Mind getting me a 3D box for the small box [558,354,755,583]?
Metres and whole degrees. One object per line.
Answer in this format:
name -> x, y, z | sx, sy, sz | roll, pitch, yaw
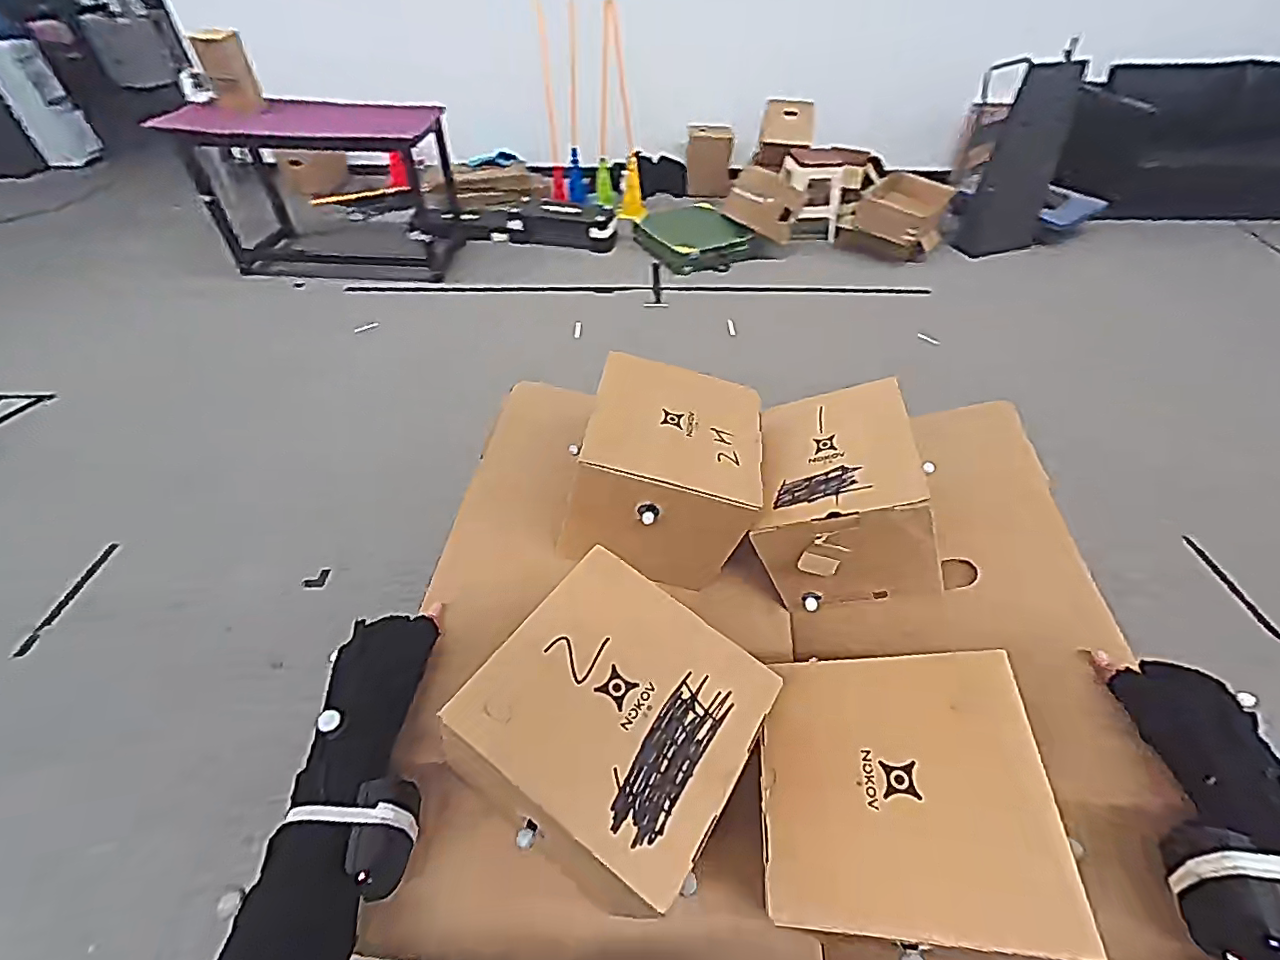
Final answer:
small box -> 0.015, -0.006, 0.599 | 0.179, 0.176, 0.168 | 15, 50, -5
